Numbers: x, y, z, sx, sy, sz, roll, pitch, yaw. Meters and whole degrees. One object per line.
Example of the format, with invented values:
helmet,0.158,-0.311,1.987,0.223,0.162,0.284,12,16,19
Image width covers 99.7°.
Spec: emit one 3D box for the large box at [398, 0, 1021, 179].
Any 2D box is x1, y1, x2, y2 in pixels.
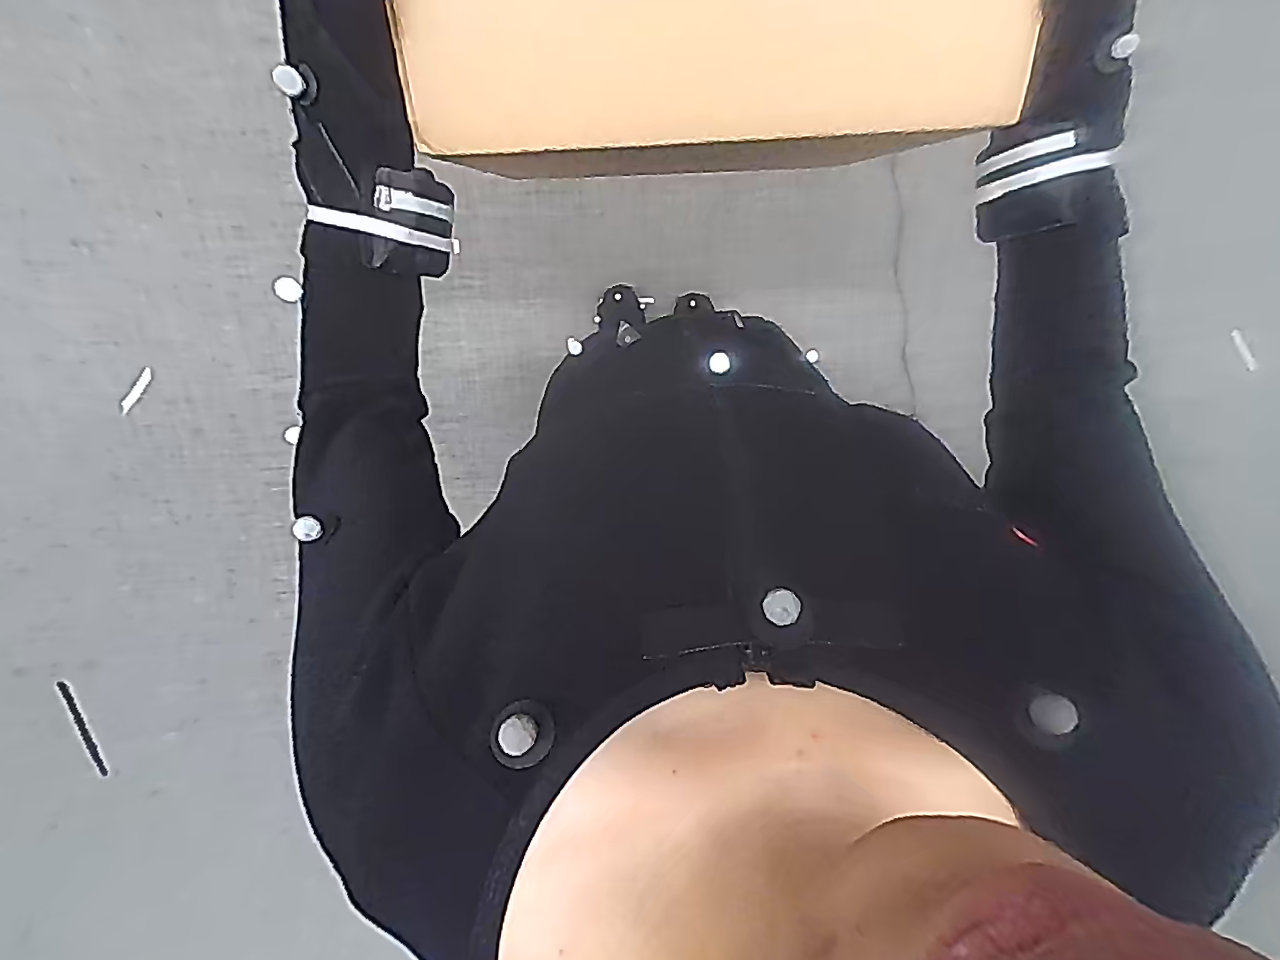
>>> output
large box,0.037,-0.443,0.441,0.408,0.320,0.320,-3,116,0
